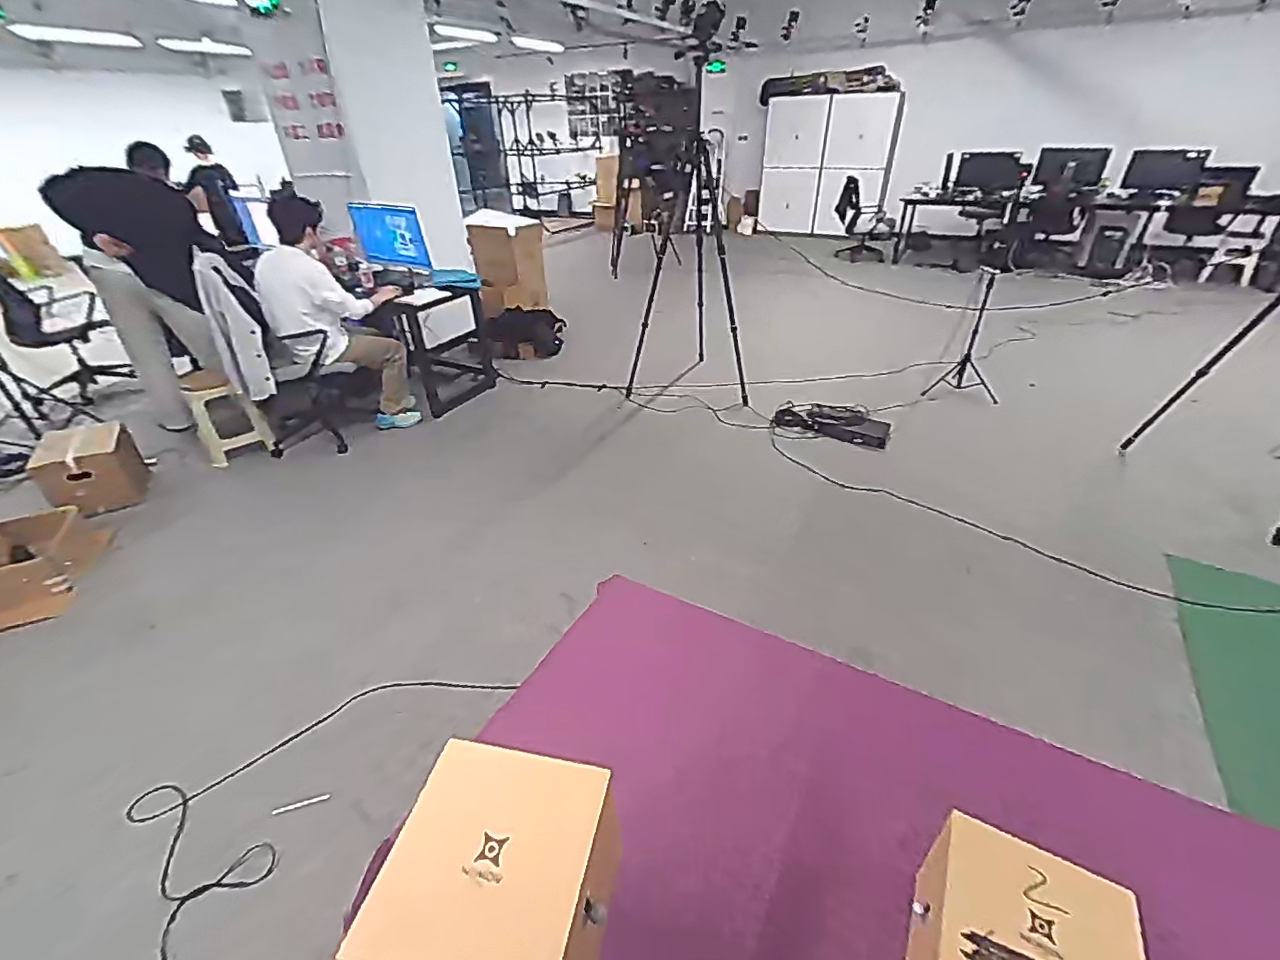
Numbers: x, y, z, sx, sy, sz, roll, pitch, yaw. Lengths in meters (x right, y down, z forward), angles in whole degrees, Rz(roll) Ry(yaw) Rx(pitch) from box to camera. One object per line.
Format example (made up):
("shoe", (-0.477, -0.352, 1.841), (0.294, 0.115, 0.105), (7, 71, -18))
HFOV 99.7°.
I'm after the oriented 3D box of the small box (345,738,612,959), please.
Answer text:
("small box", (-0.125, 0.380, 0.503), (0.168, 0.176, 0.179), (5, 37, 11))
